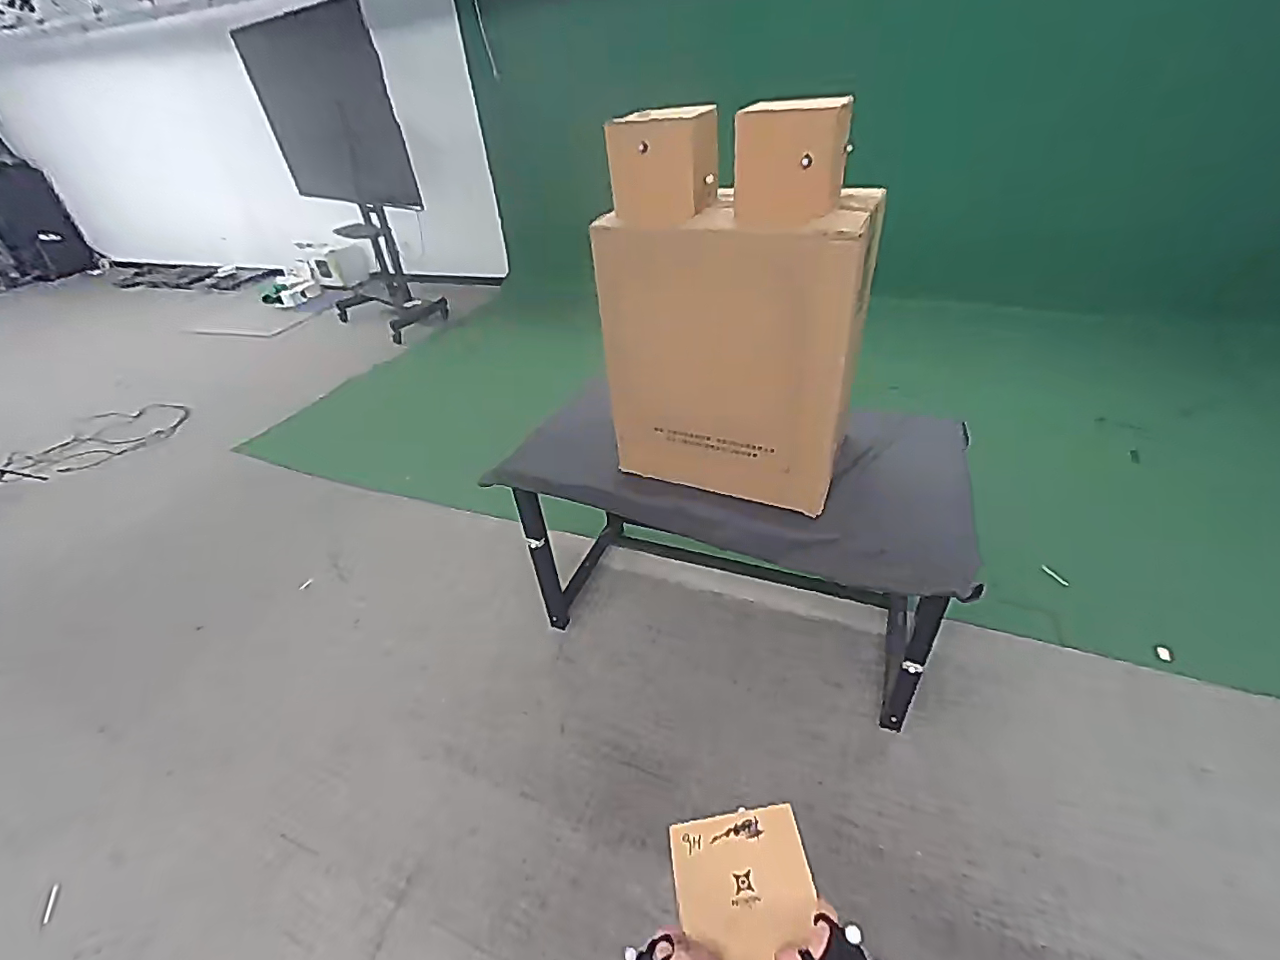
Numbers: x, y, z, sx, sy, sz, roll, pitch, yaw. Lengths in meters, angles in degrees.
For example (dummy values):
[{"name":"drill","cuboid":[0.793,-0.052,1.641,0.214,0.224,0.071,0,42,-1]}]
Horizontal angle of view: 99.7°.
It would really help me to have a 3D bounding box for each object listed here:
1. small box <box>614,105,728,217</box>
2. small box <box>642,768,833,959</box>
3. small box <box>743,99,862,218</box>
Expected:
[{"name":"small box","cuboid":[0.071,-0.648,1.106,0.179,0.176,0.168,13,45,25]},{"name":"small box","cuboid":[0.133,0.534,0.704,0.179,0.176,0.168,-32,36,-20]},{"name":"small box","cuboid":[0.302,-0.601,1.016,0.179,0.176,0.168,12,41,24]}]
